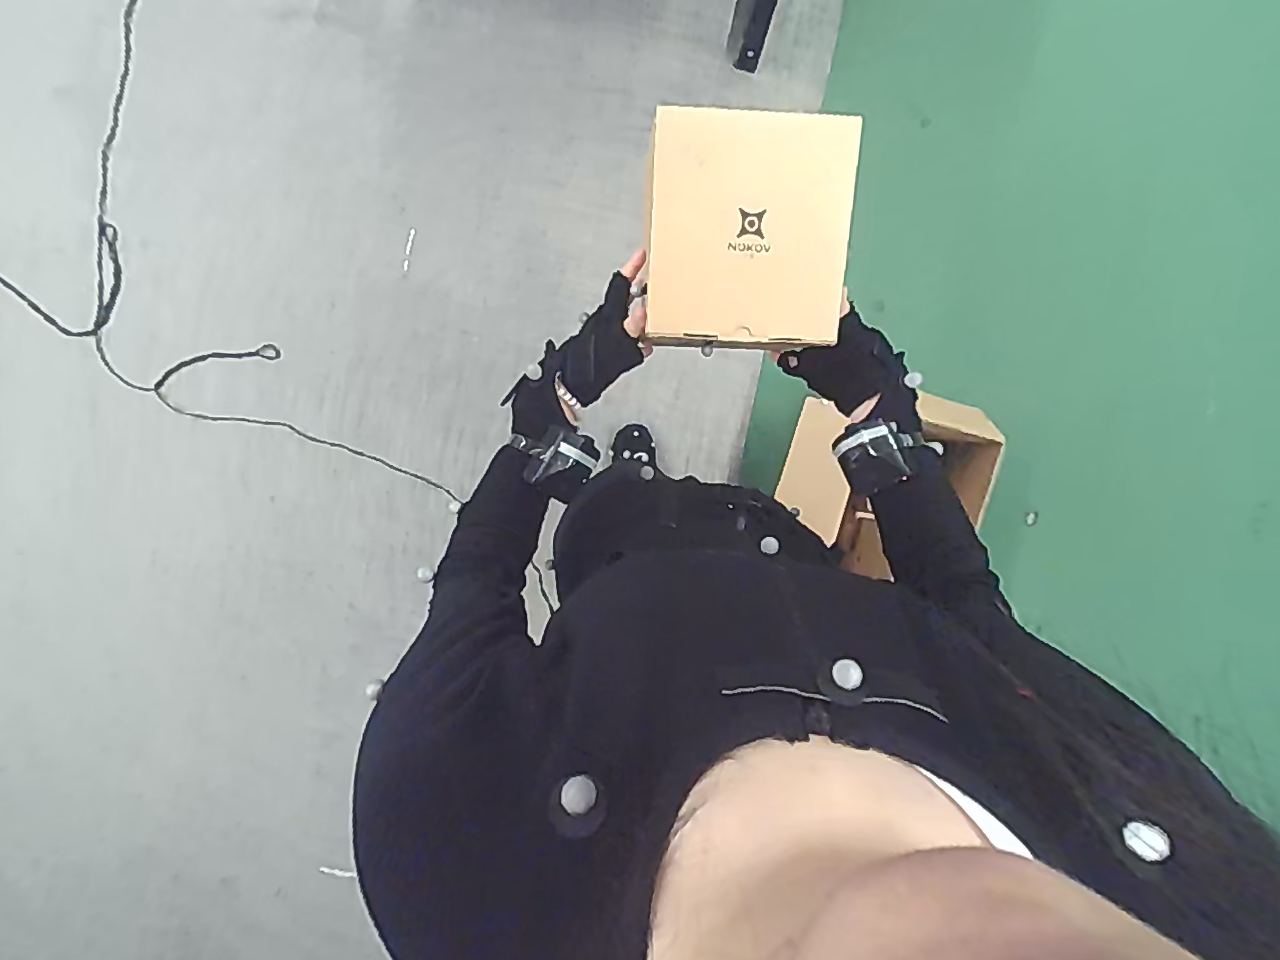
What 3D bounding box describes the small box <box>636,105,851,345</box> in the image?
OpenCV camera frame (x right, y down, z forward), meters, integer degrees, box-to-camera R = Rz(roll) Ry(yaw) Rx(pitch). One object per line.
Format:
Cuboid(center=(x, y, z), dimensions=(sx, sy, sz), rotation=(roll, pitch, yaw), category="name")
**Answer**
Cuboid(center=(0.083, -0.228, 0.529), dimensions=(0.168, 0.176, 0.179), rotation=(2, 104, -3), category="small box")
